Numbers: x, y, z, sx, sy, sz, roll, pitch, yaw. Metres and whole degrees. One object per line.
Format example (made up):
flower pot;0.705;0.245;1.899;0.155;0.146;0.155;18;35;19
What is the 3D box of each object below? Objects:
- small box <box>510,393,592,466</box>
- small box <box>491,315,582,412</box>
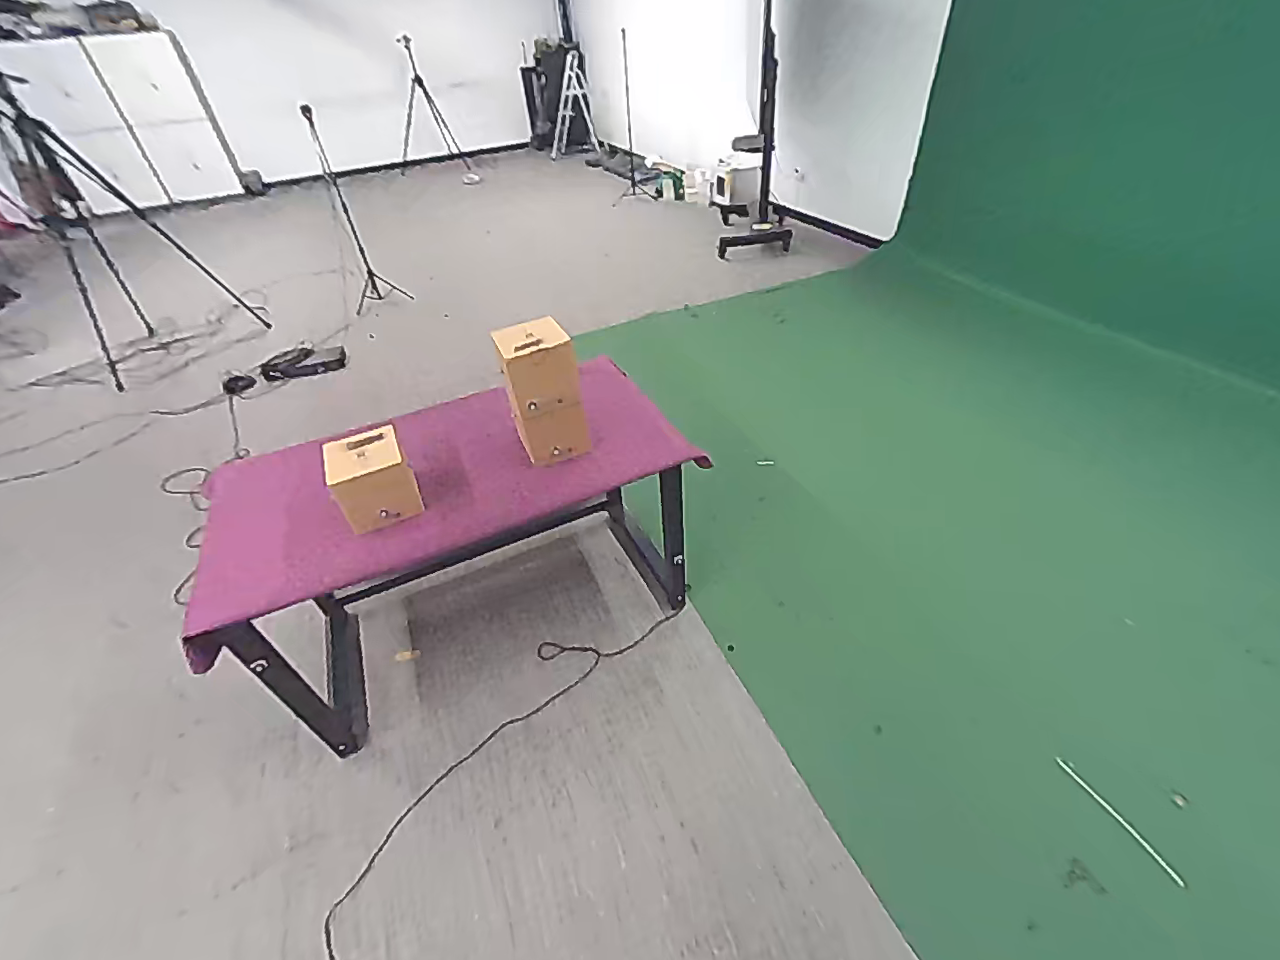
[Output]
small box;-0.243;-0.166;1.471;0.168;0.176;0.179;-20;42;-14
small box;-0.258;-0.288;1.362;0.168;0.176;0.179;-20;41;-14
